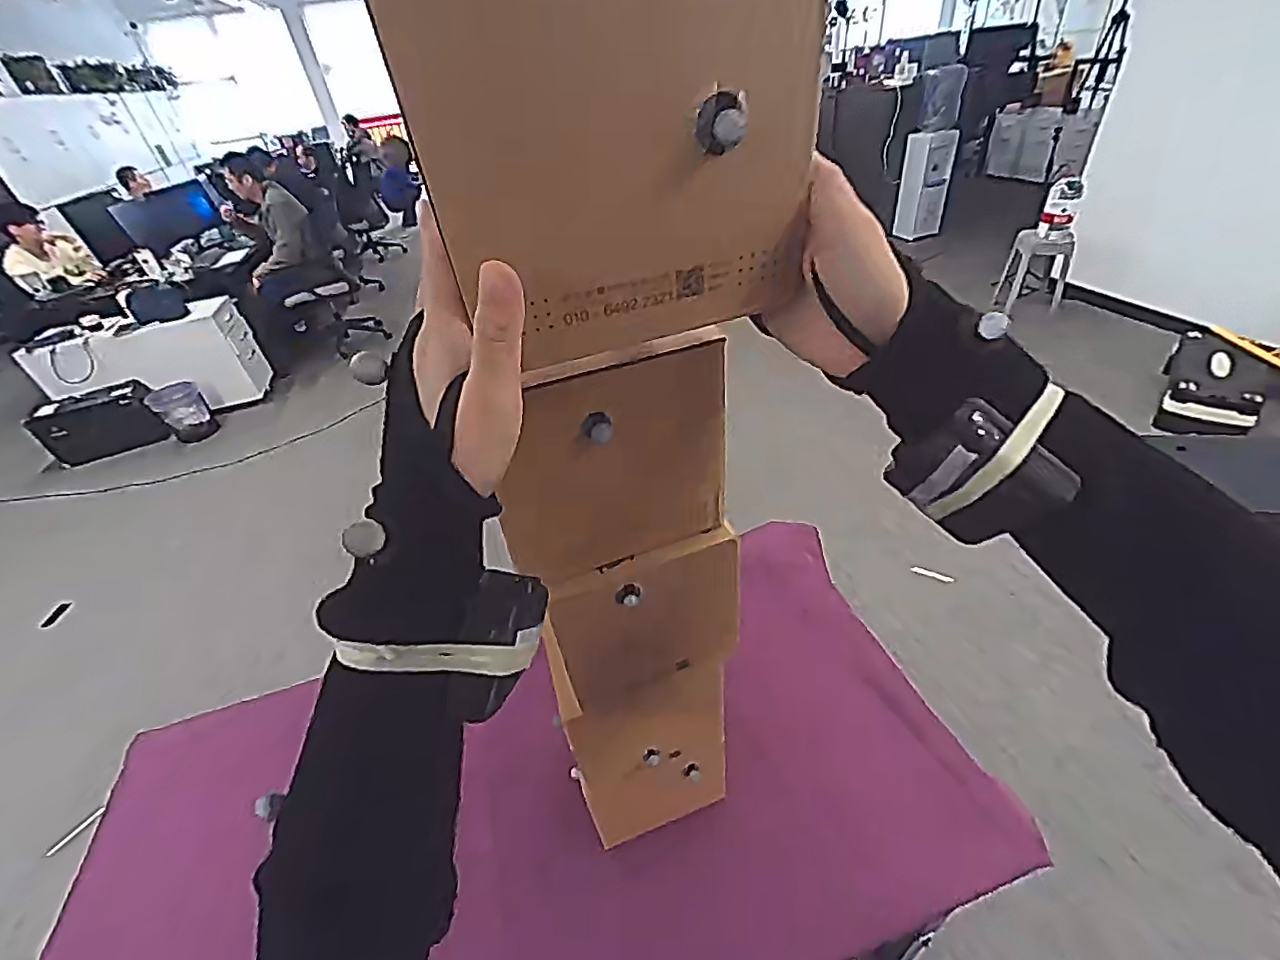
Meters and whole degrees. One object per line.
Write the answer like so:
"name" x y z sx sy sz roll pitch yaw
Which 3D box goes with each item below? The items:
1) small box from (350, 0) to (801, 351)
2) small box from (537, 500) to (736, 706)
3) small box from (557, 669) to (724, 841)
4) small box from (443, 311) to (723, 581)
"small box" -0.032 -0.181 0.273 0.168 0.176 0.179 -17 44 -11
"small box" -0.017 0.084 0.538 0.168 0.176 0.179 -17 38 -11
"small box" 0.002 0.346 0.734 0.179 0.176 0.168 -17 38 -11
"small box" -0.045 -0.048 0.446 0.179 0.176 0.168 -18 39 -12
